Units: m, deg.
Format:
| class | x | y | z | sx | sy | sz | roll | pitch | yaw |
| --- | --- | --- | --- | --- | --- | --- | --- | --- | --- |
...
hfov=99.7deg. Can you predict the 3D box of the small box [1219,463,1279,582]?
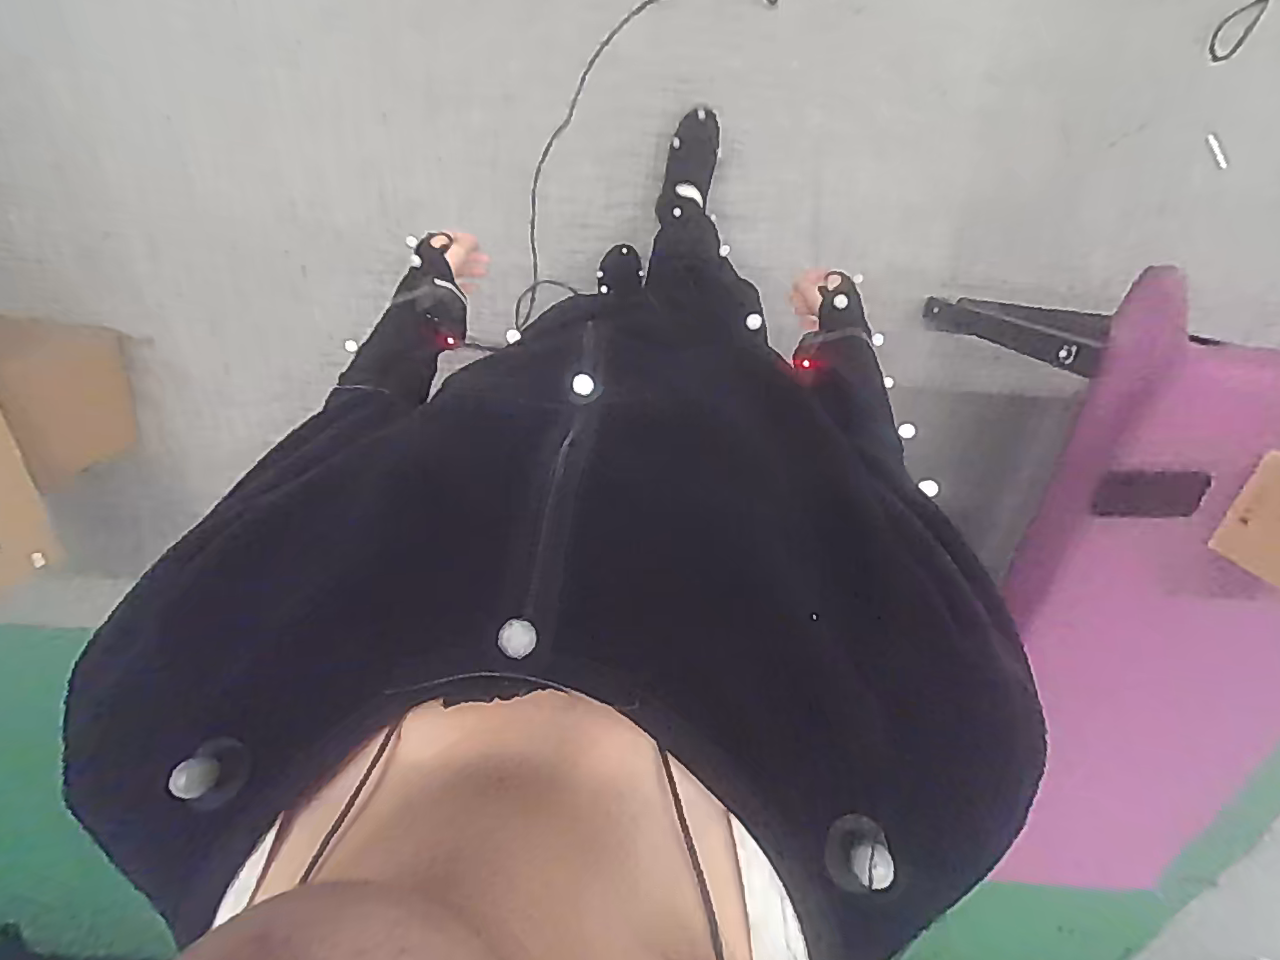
| class | x | y | z | sx | sy | sz | roll | pitch | yaw |
| --- | --- | --- | --- | --- | --- | --- | --- | --- | --- |
| small box | 0.977 | 0.073 | 0.735 | 0.179 | 0.176 | 0.168 | 3 | 116 | -2 |
